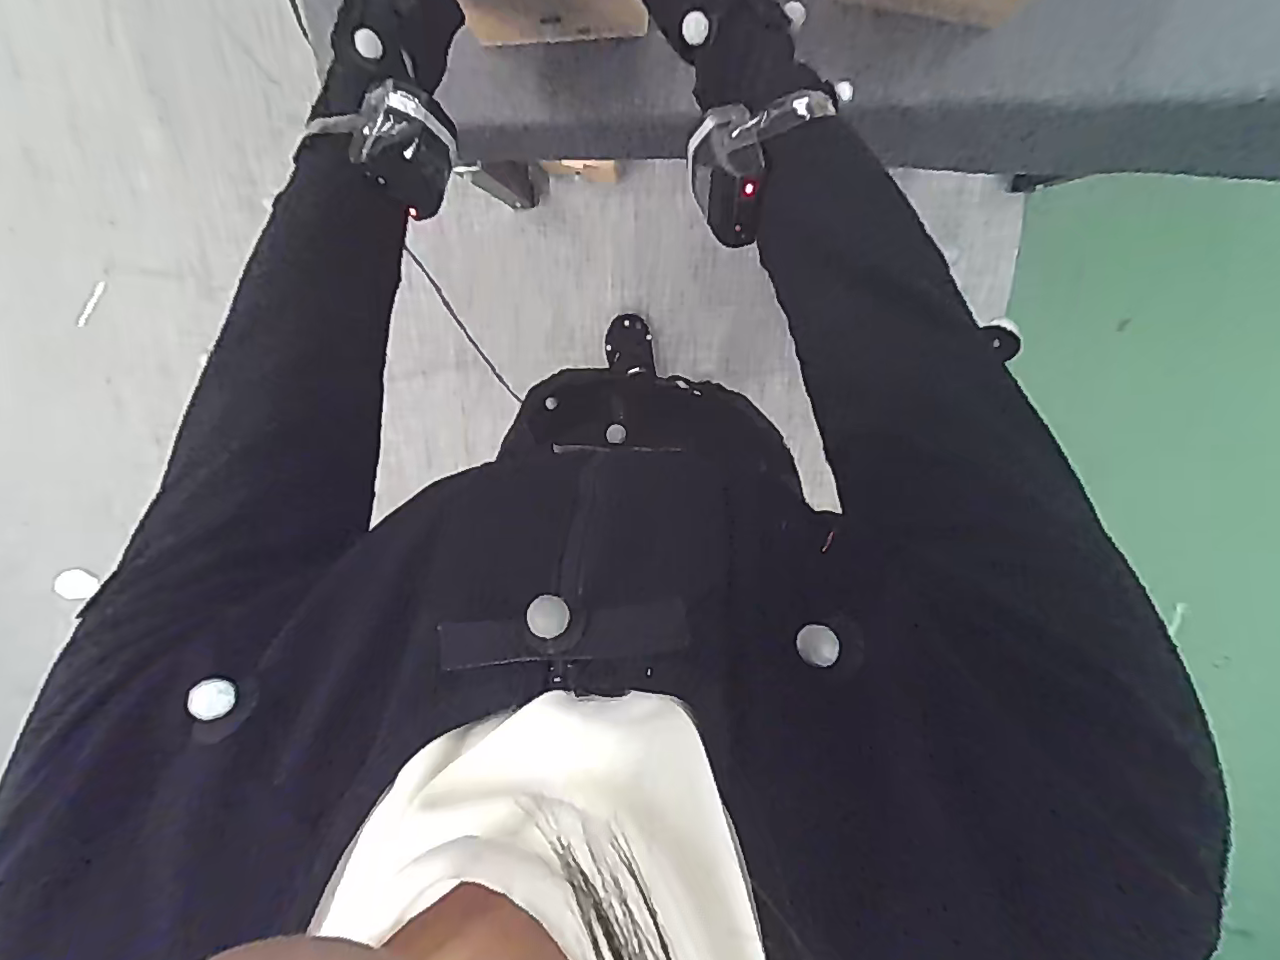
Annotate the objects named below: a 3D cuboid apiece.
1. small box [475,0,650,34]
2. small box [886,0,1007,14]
[{"bbox_3d":[-0.075,-0.495,0.425,0.168,0.176,0.179,-3,110,1],"label":"small box"},{"bbox_3d":[0.273,-0.510,0.422,0.179,0.176,0.168,8,108,-2],"label":"small box"}]
